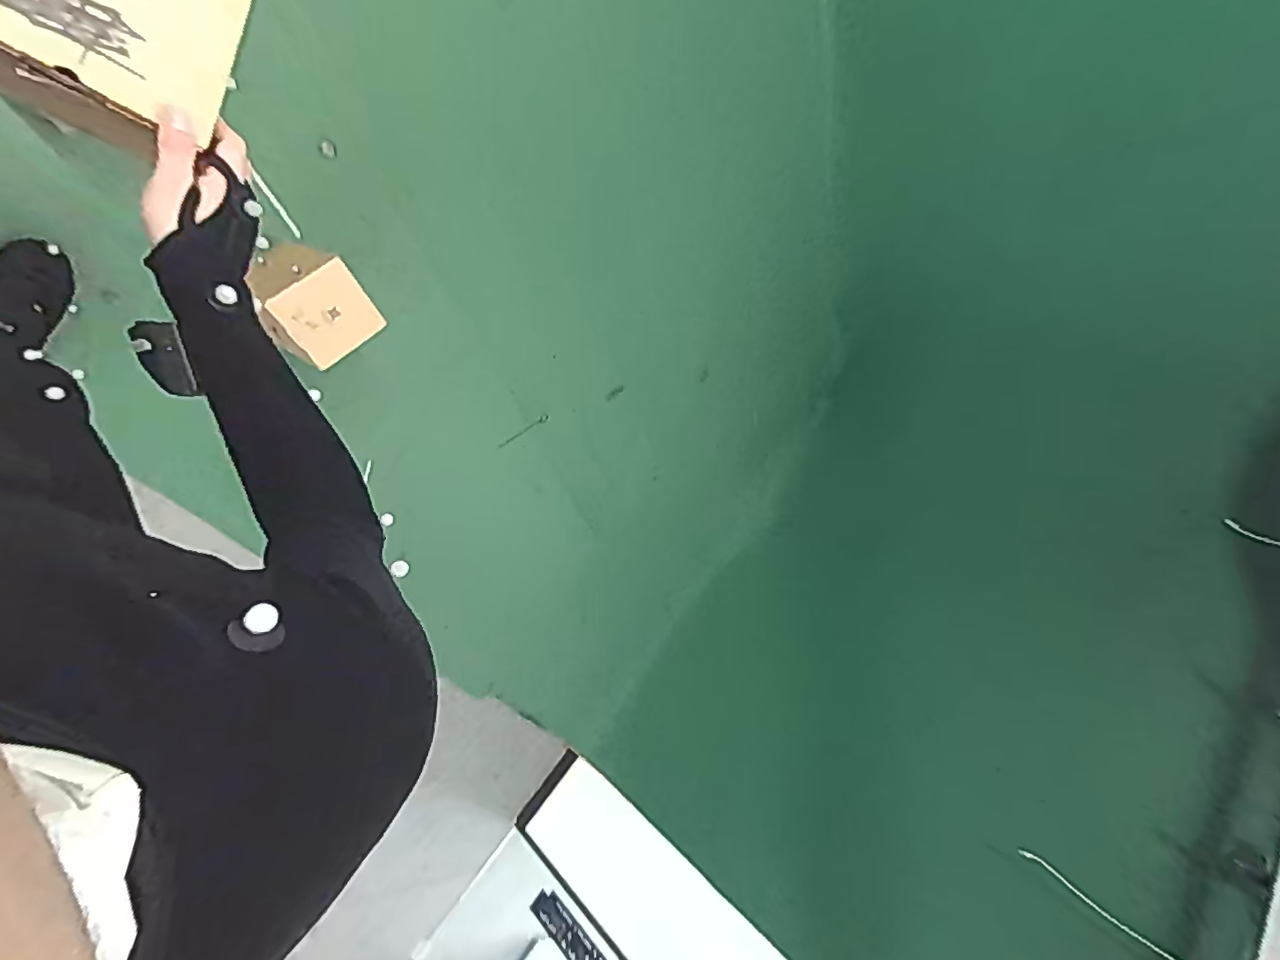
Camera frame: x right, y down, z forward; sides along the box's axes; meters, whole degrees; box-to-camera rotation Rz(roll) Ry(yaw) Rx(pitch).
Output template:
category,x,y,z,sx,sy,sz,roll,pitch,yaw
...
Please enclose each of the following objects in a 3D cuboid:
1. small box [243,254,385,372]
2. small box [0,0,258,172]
category,x,y,z,sx,sy,sz,roll,pitch,yaw
small box,-0.701,-0.365,1.163,0.179,0.176,0.168,-47,140,-21
small box,-0.435,-0.376,0.428,0.168,0.176,0.179,15,92,-52
